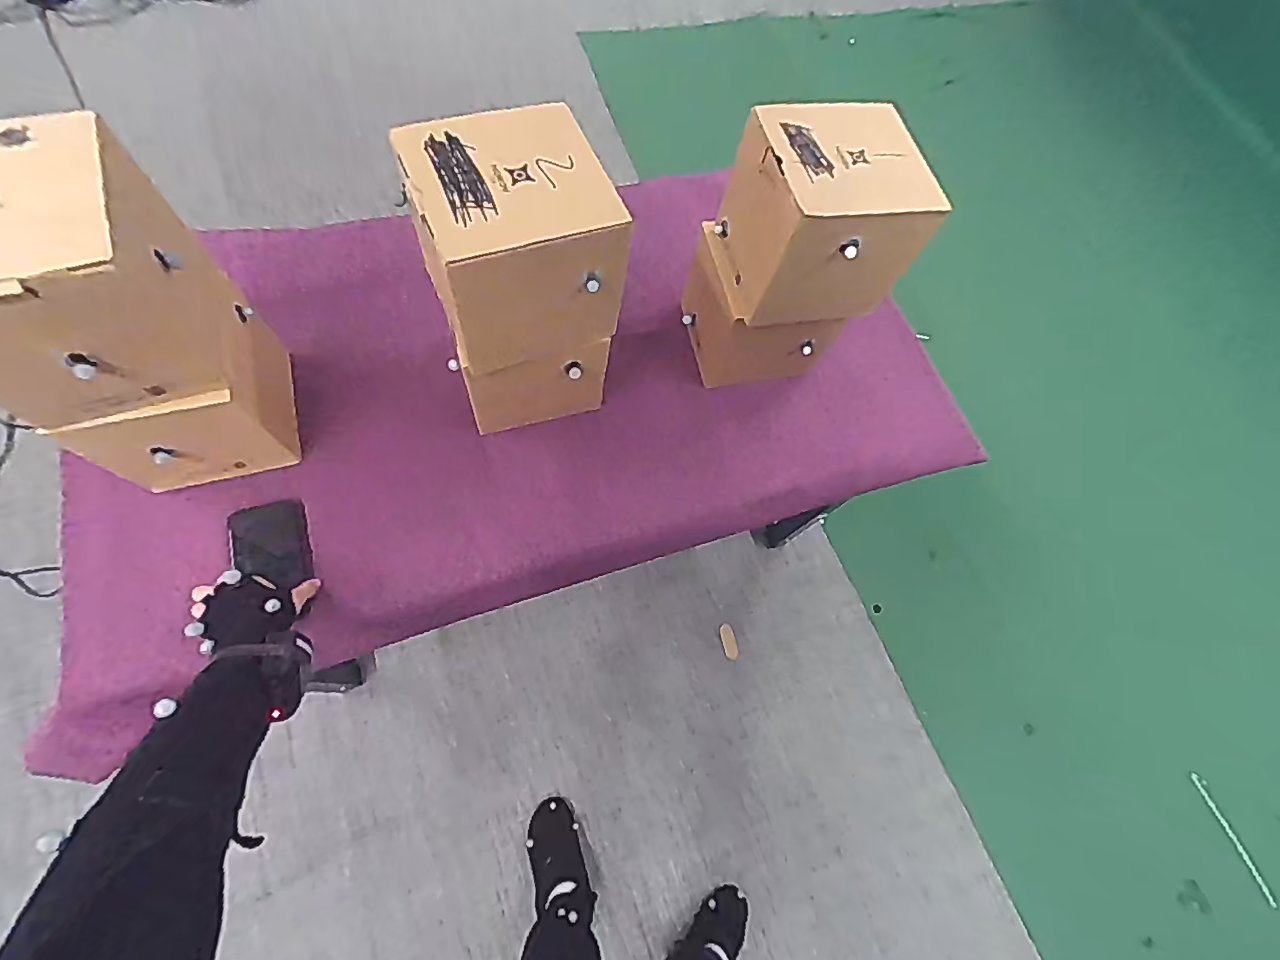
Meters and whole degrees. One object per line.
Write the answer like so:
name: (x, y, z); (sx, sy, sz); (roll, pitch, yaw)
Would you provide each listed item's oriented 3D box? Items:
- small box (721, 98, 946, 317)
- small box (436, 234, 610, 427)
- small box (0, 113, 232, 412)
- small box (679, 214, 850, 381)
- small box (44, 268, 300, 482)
small box: (0.206, -0.313, 0.641); (0.179, 0.176, 0.168); (-9, 69, -12)
small box: (-0.152, -0.191, 0.716); (0.179, 0.176, 0.168); (-15, 71, -13)
small box: (-0.506, -0.179, 0.483); (0.168, 0.176, 0.179); (-19, 73, -16)
small box: (0.171, -0.264, 0.794); (0.179, 0.176, 0.168); (-9, 69, -11)
small box: (-0.525, -0.110, 0.632); (0.168, 0.176, 0.179); (-14, 71, -13)
